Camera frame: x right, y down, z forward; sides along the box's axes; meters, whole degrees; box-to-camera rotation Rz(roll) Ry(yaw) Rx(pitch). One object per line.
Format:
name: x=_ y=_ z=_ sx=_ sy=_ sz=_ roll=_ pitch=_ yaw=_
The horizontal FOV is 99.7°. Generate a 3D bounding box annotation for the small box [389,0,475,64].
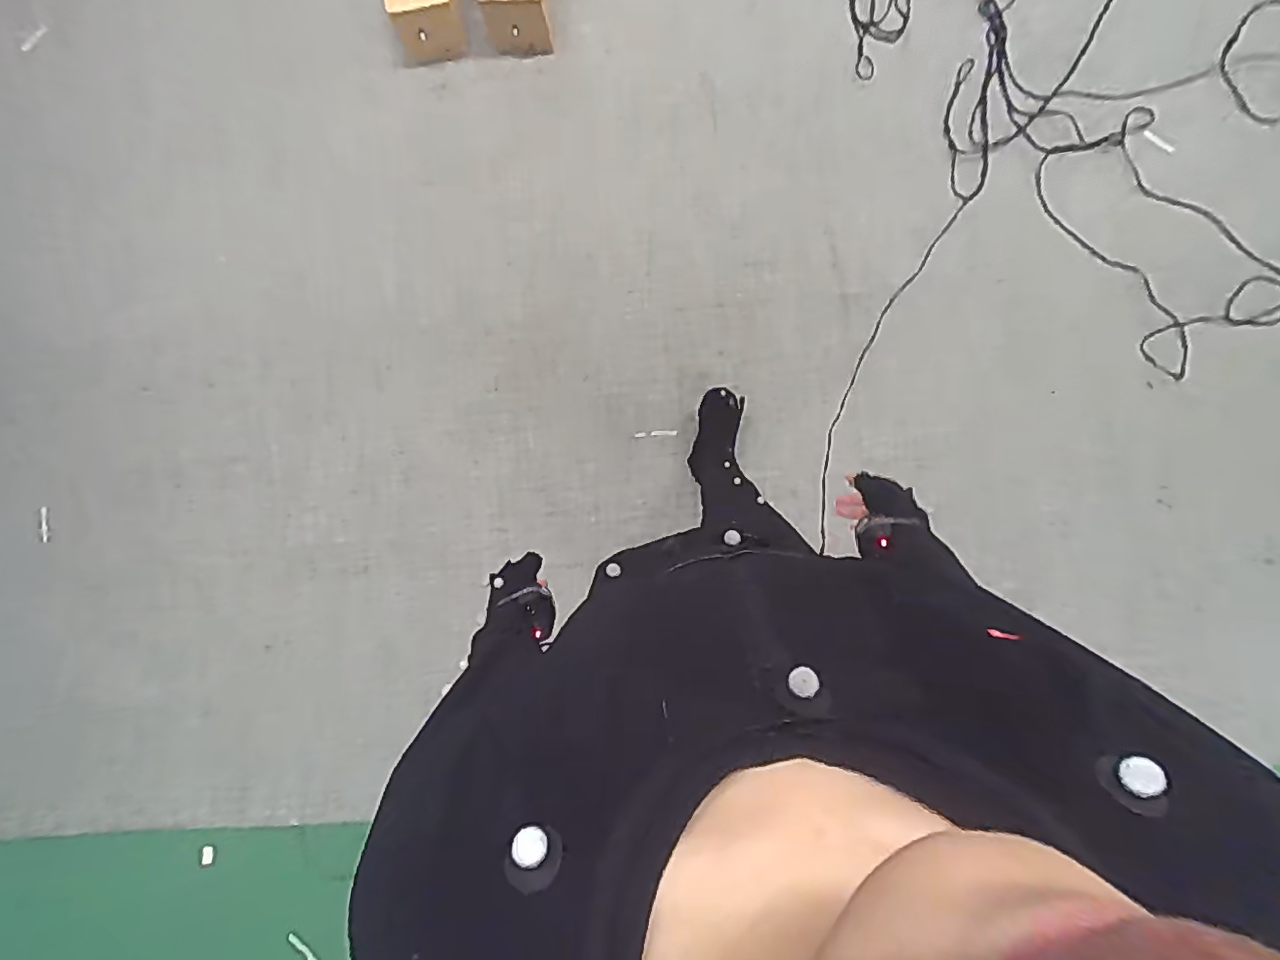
small box: x=-0.558 y=-1.261 z=1.450 sx=0.168 sy=0.176 sz=0.179 roll=-10 pitch=88 yaw=3

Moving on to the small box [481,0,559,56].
small box: x=-0.313 y=-1.272 z=1.437 sx=0.168 sy=0.176 sz=0.179 roll=1 pitch=89 yaw=2
